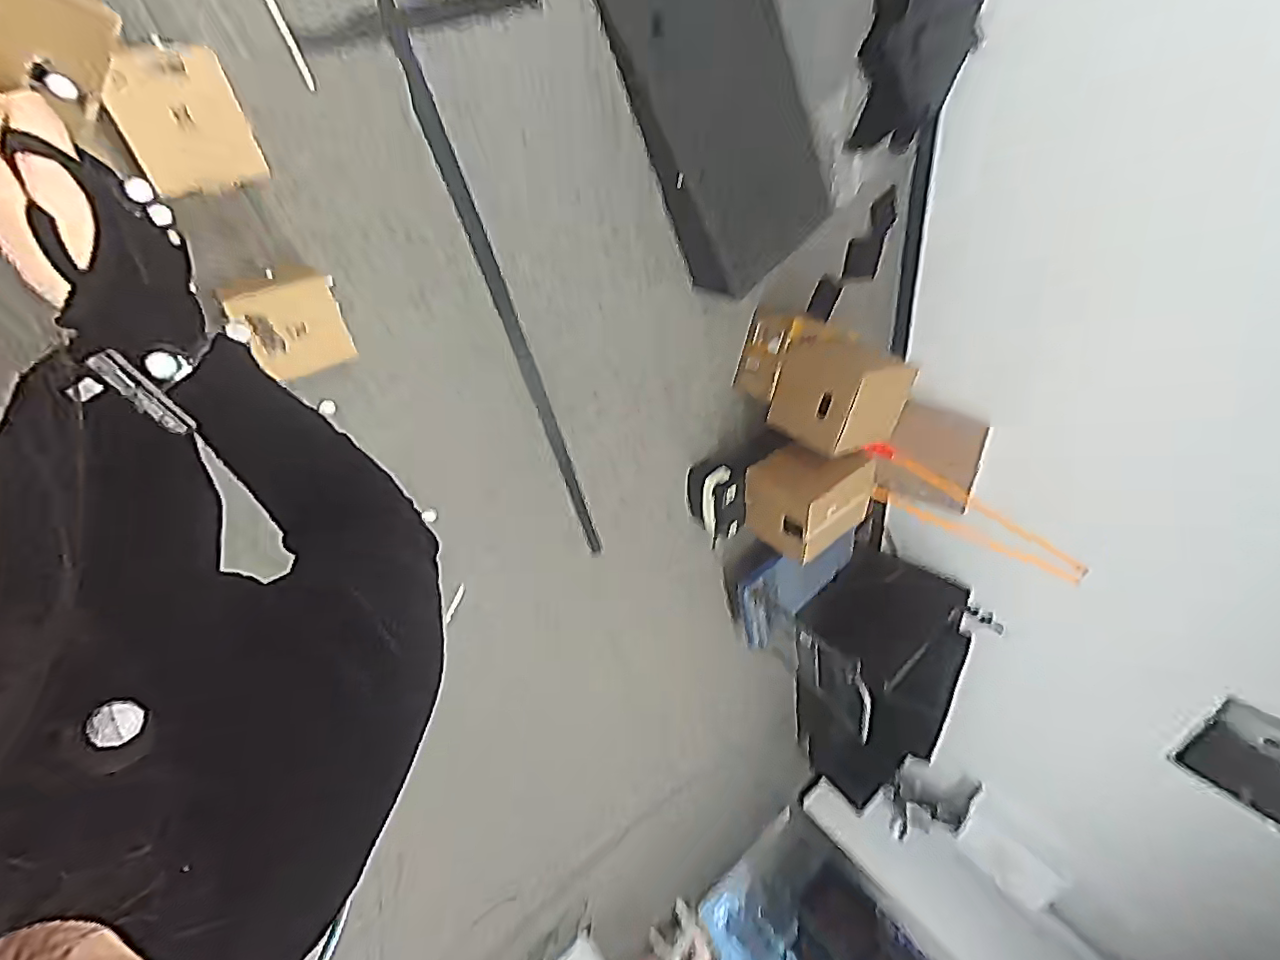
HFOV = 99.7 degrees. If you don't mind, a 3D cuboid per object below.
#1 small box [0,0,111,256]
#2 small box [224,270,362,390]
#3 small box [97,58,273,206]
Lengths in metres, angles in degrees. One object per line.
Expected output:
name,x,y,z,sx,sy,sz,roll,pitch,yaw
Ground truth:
small box,-0.419,-0.226,0.267,0.179,0.176,0.168,23,108,-34
small box,-0.696,-0.306,1.081,0.179,0.176,0.168,-30,133,-27
small box,-0.736,-0.566,0.878,0.168,0.176,0.179,-30,133,-26
